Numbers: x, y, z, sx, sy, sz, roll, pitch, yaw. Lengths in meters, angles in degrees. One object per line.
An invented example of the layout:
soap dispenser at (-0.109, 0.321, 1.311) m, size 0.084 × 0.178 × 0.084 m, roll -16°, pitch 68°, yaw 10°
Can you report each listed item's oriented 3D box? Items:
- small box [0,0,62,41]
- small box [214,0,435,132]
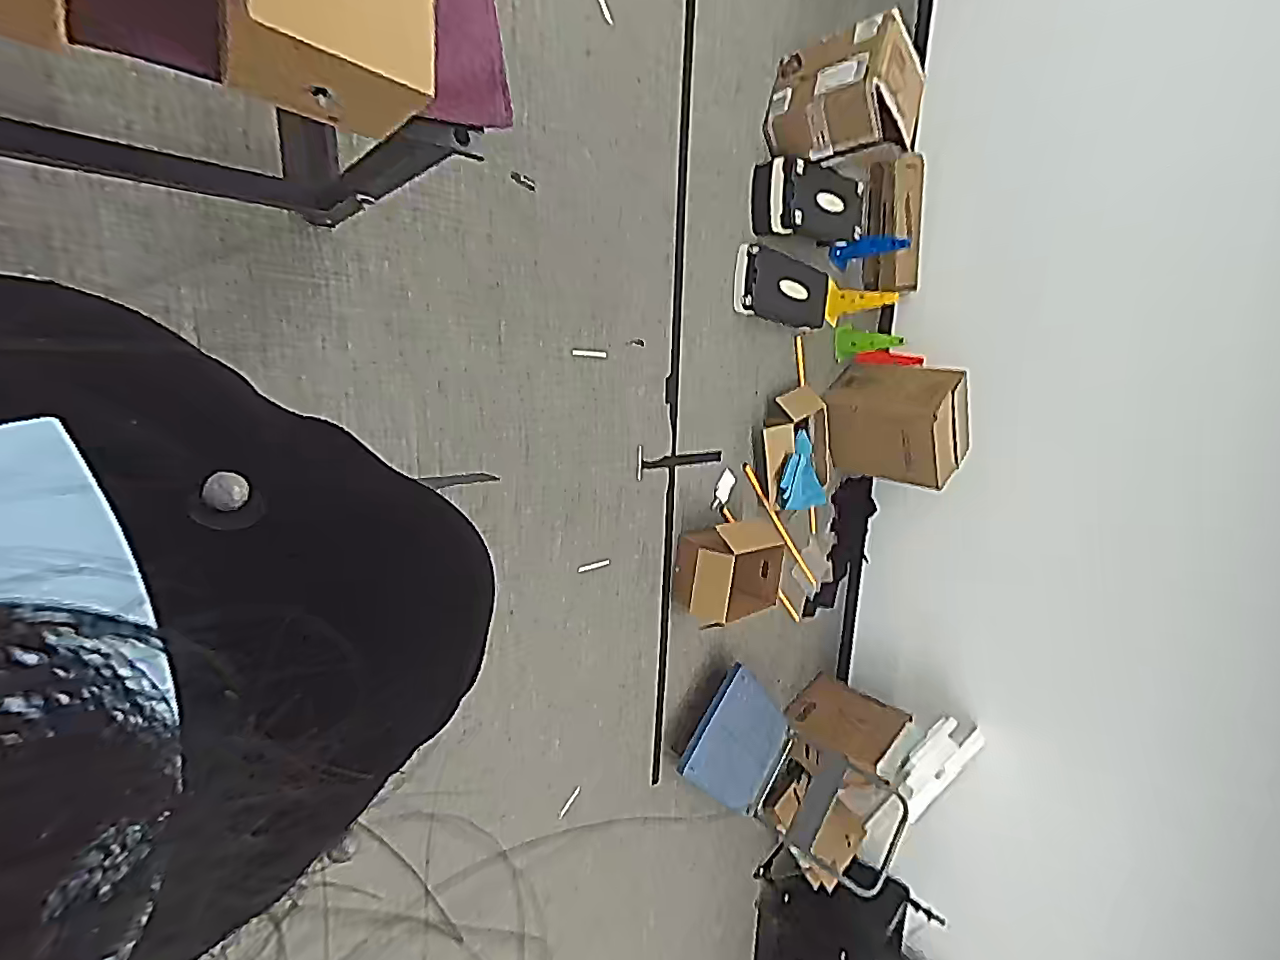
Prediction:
small box at (-0.527, -0.467, 0.376) m, size 0.168 × 0.176 × 0.179 m, roll -3°, pitch 103°, yaw -45°
small box at (-0.328, -0.501, 0.563) m, size 0.168 × 0.176 × 0.179 m, roll -5°, pitch 102°, yaw -44°
